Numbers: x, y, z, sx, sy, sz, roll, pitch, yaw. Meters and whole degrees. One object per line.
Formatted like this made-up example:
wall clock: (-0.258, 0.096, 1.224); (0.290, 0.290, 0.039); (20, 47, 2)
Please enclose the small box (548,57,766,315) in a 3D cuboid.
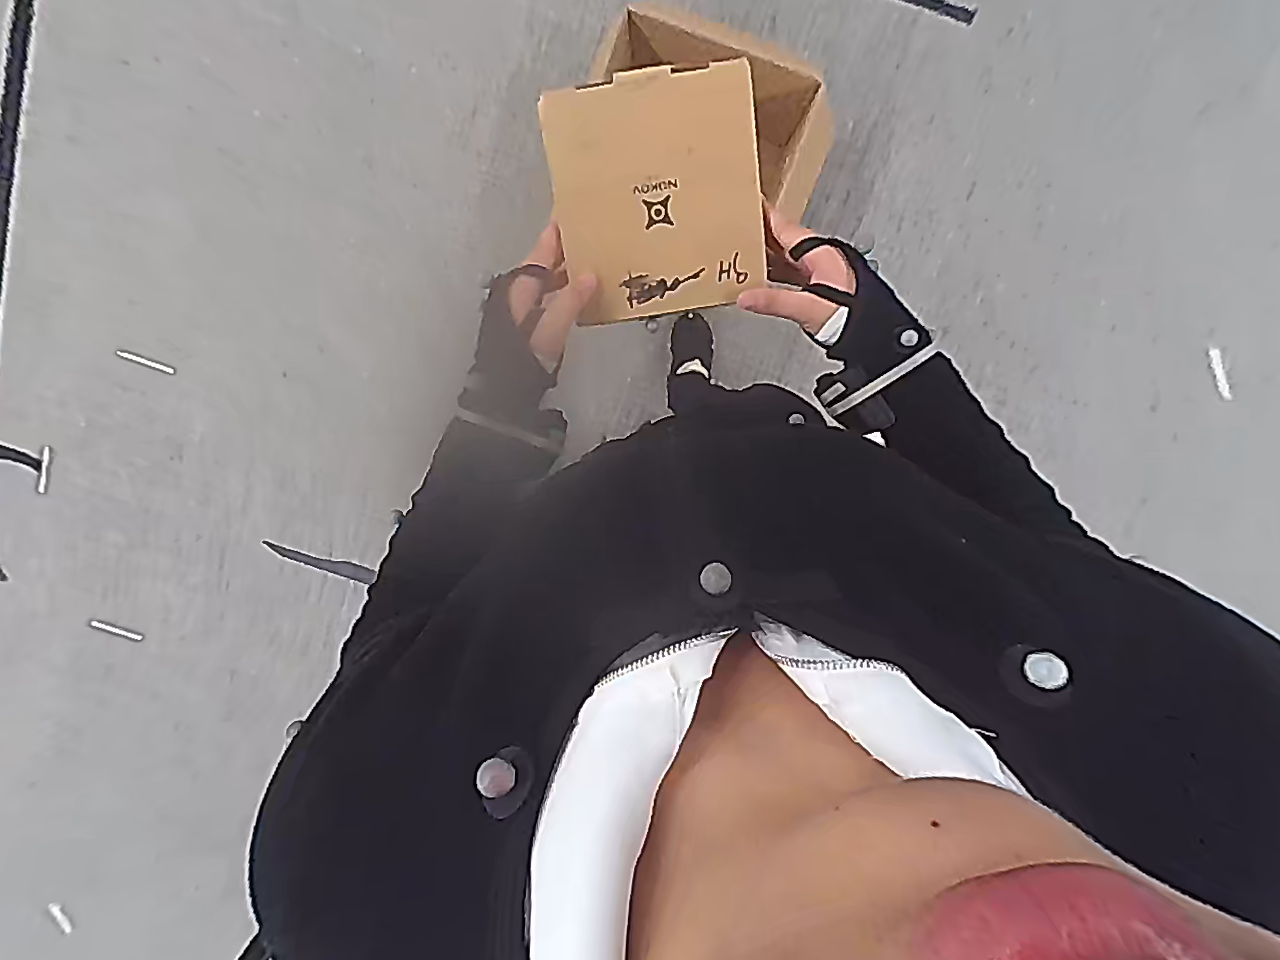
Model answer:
small box: (0.017, -0.258, 0.520); (0.168, 0.176, 0.179); (-7, 107, 3)
